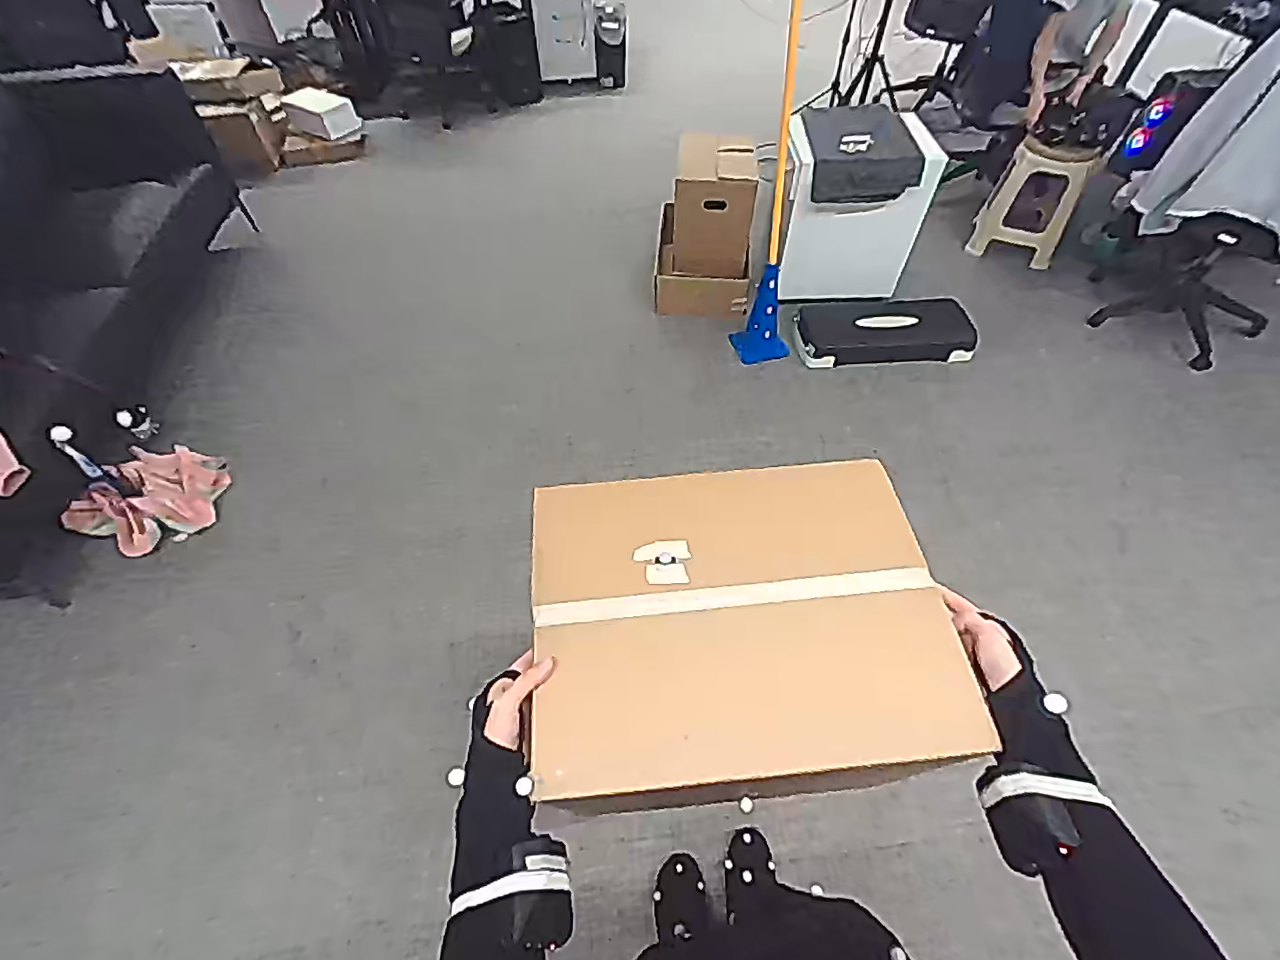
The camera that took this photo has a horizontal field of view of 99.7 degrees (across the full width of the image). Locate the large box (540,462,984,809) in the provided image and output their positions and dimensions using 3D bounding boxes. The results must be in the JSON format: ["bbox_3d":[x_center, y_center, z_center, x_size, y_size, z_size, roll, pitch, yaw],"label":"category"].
[{"bbox_3d":[0.103,0.208,0.679,0.408,0.320,0.320,-6,55,-1],"label":"large box"}]
